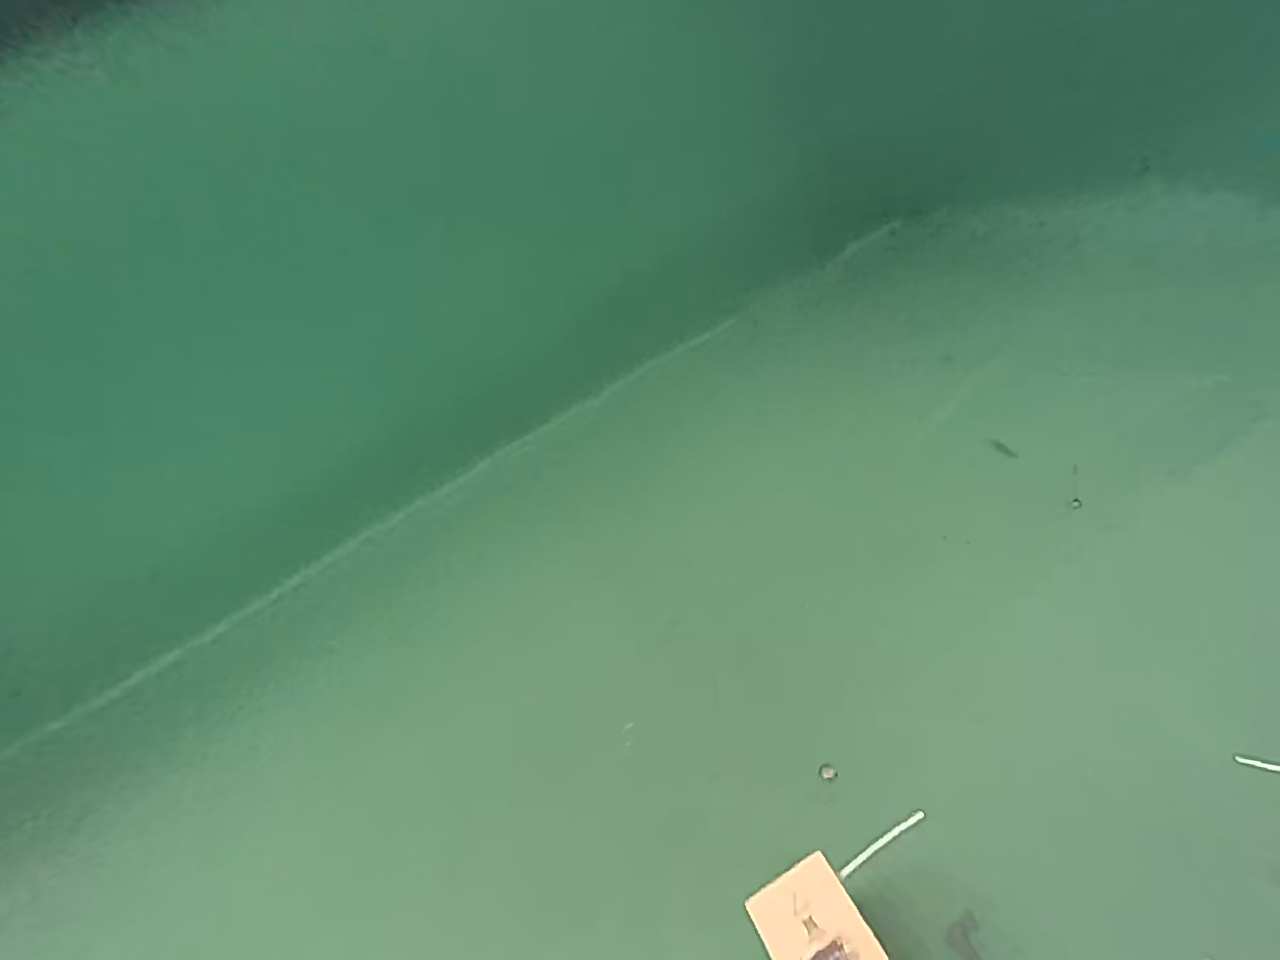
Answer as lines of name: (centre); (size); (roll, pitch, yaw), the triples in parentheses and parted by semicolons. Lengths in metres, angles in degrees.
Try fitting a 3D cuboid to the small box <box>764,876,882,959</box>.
small box: (0.371, 0.925, 1.054); (0.168, 0.176, 0.179); (-29, 38, -4)
